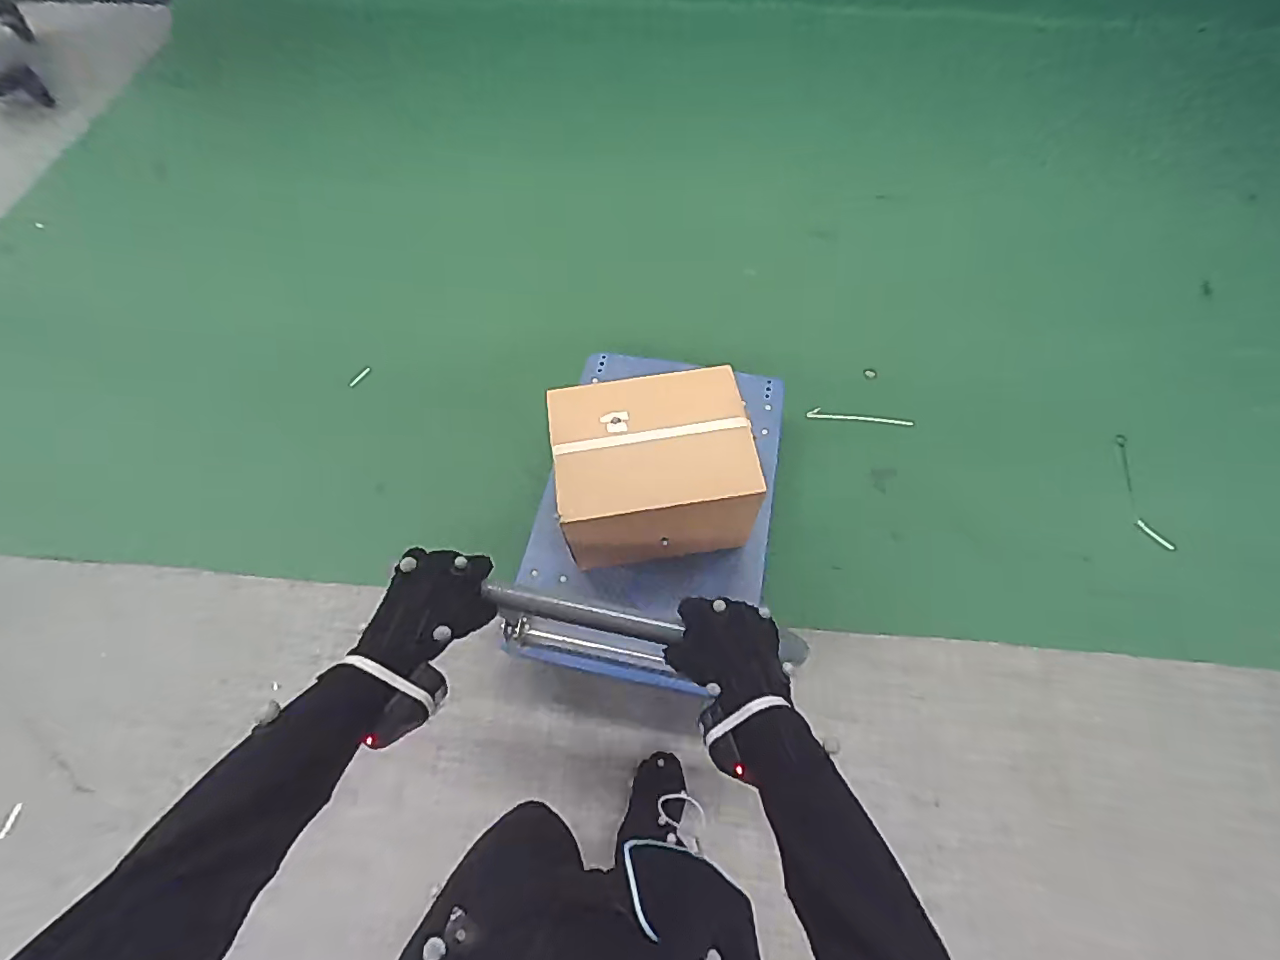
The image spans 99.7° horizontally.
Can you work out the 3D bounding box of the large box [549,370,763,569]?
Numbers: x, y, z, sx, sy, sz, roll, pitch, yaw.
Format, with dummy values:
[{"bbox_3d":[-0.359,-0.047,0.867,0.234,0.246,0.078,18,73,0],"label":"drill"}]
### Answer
[{"bbox_3d":[0.029,-0.011,1.242,0.408,0.320,0.320,-9,63,-2],"label":"large box"}]
